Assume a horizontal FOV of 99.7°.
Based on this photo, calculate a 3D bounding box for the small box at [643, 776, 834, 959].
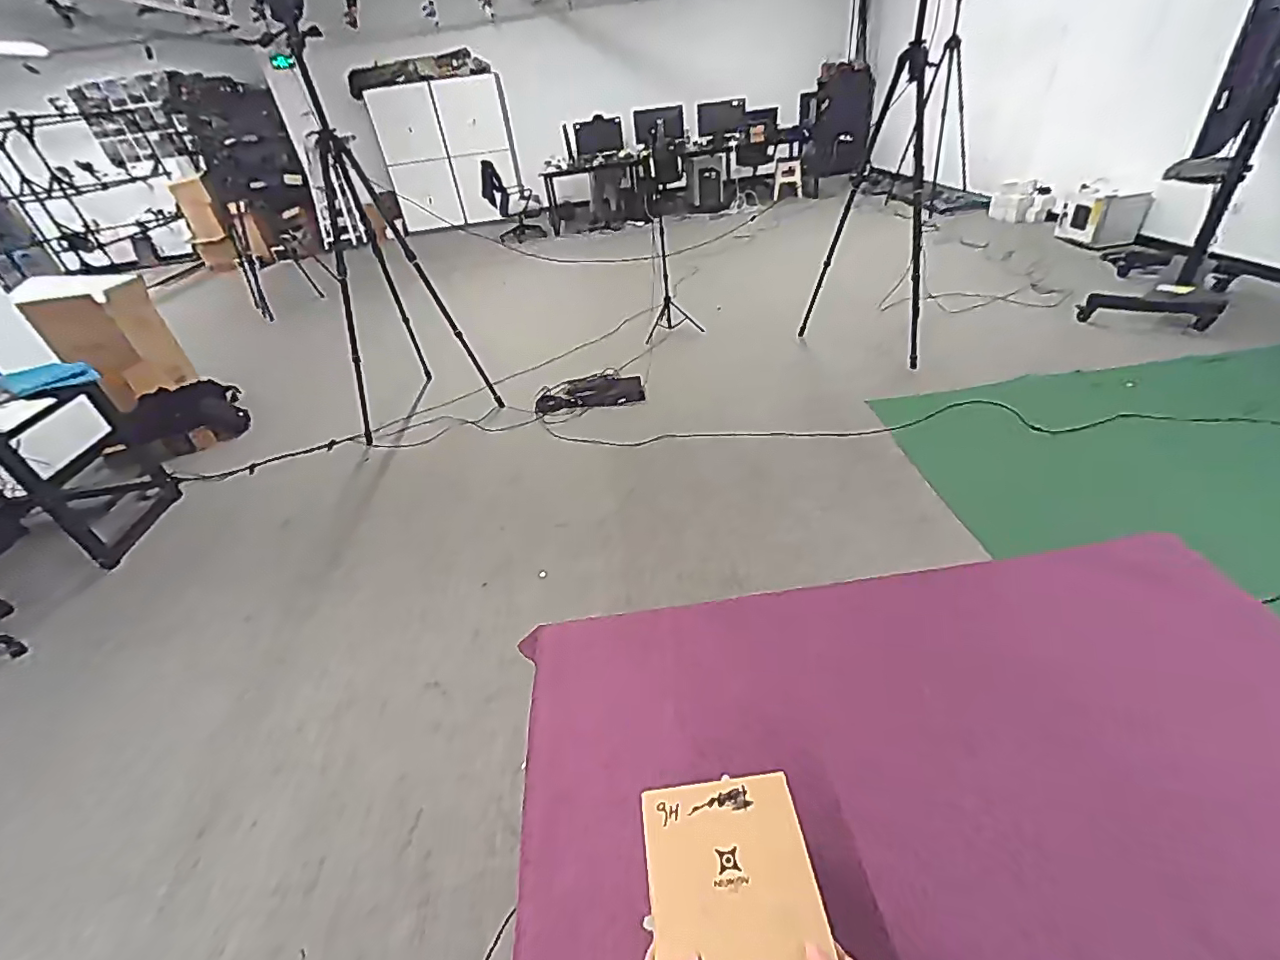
[{"bbox_3d":[0.099,0.459,0.590,0.168,0.176,0.179,-8,36,0],"label":"small box"}]
